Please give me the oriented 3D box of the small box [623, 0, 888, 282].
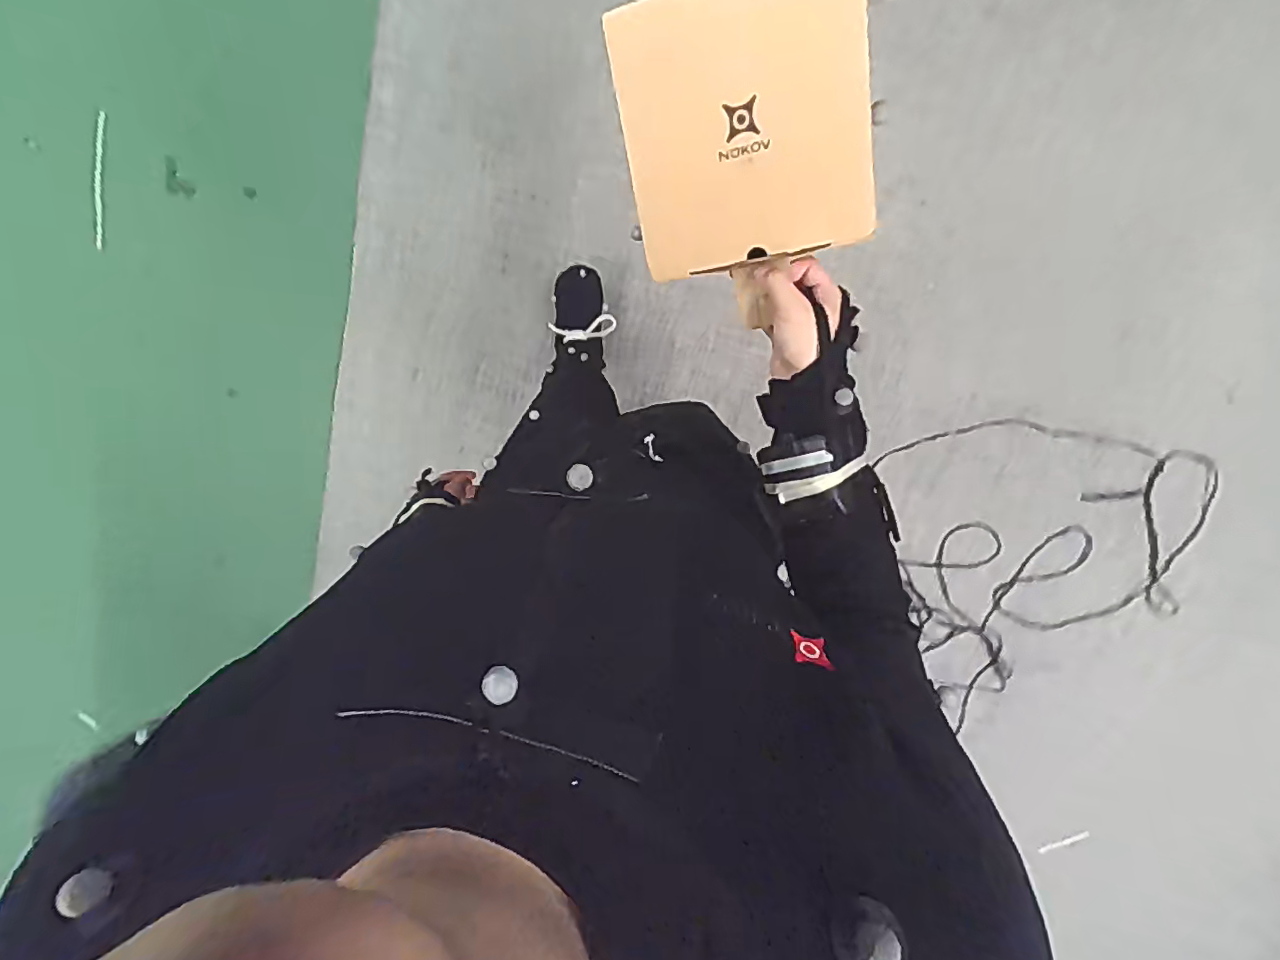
[{"bbox_3d":[0.097,-0.268,0.439,0.168,0.176,0.179,-5,112,16],"label":"small box"}]
